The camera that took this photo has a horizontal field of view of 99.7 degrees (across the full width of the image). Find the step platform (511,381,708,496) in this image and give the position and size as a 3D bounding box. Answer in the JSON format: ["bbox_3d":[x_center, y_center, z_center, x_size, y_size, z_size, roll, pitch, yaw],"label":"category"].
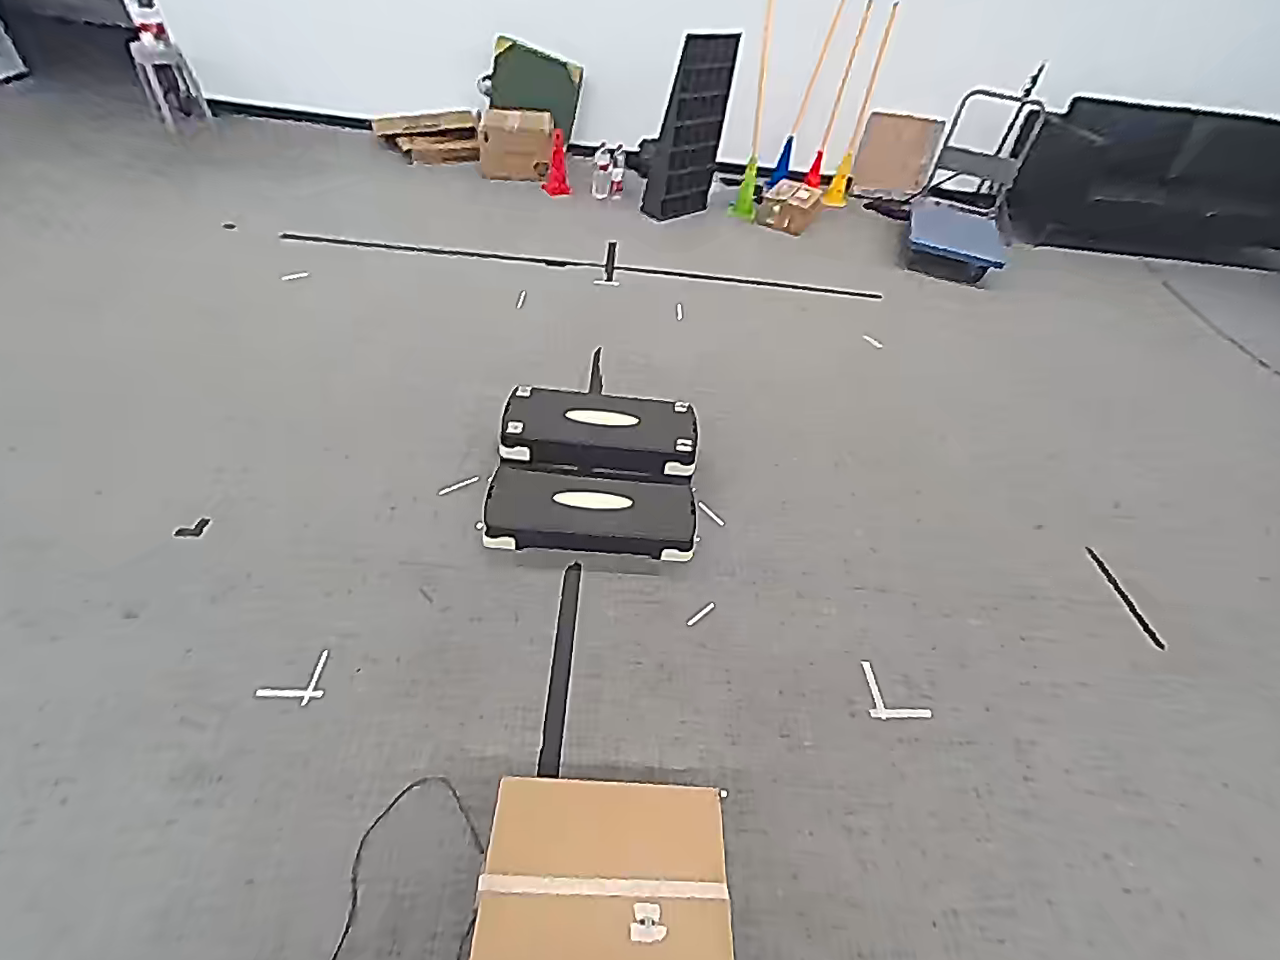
[{"bbox_3d":[-0.102,-0.153,1.915,0.684,0.204,0.286,10,46,-1],"label":"step platform"}]

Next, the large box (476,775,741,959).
[{"bbox_3d":[-0.062,0.753,0.970,0.408,0.320,0.320,6,46,-5],"label":"large box"}]
